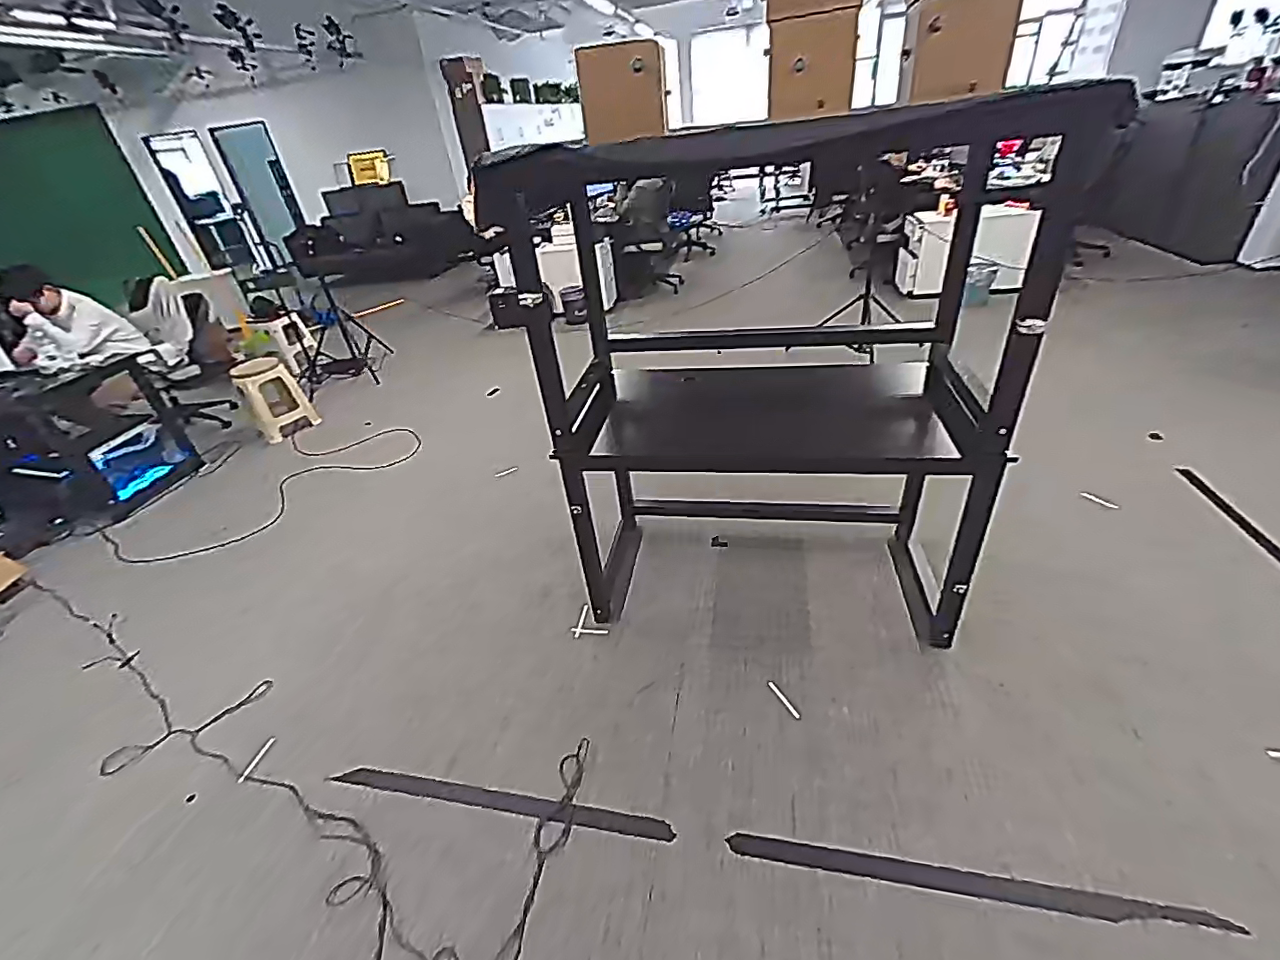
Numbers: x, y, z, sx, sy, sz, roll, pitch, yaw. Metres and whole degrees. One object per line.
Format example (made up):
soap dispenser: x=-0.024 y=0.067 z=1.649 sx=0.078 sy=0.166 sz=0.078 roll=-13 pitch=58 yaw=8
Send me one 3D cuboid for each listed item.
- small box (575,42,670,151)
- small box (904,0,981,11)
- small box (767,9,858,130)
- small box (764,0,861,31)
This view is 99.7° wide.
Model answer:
small box: x=-0.028 y=-0.824 z=1.173 sx=0.179 sy=0.176 sz=0.168 roll=-2 pitch=32 yaw=9
small box: x=0.580 y=-0.952 z=0.946 sx=0.179 sy=0.176 sz=0.168 roll=0 pitch=31 yaw=14
small box: x=0.350 y=-0.831 z=1.110 sx=0.168 sy=0.176 sz=0.179 roll=3 pitch=33 yaw=15
small box: x=0.329 y=-0.963 z=1.015 sx=0.179 sy=0.176 sz=0.168 roll=1 pitch=32 yaw=16
